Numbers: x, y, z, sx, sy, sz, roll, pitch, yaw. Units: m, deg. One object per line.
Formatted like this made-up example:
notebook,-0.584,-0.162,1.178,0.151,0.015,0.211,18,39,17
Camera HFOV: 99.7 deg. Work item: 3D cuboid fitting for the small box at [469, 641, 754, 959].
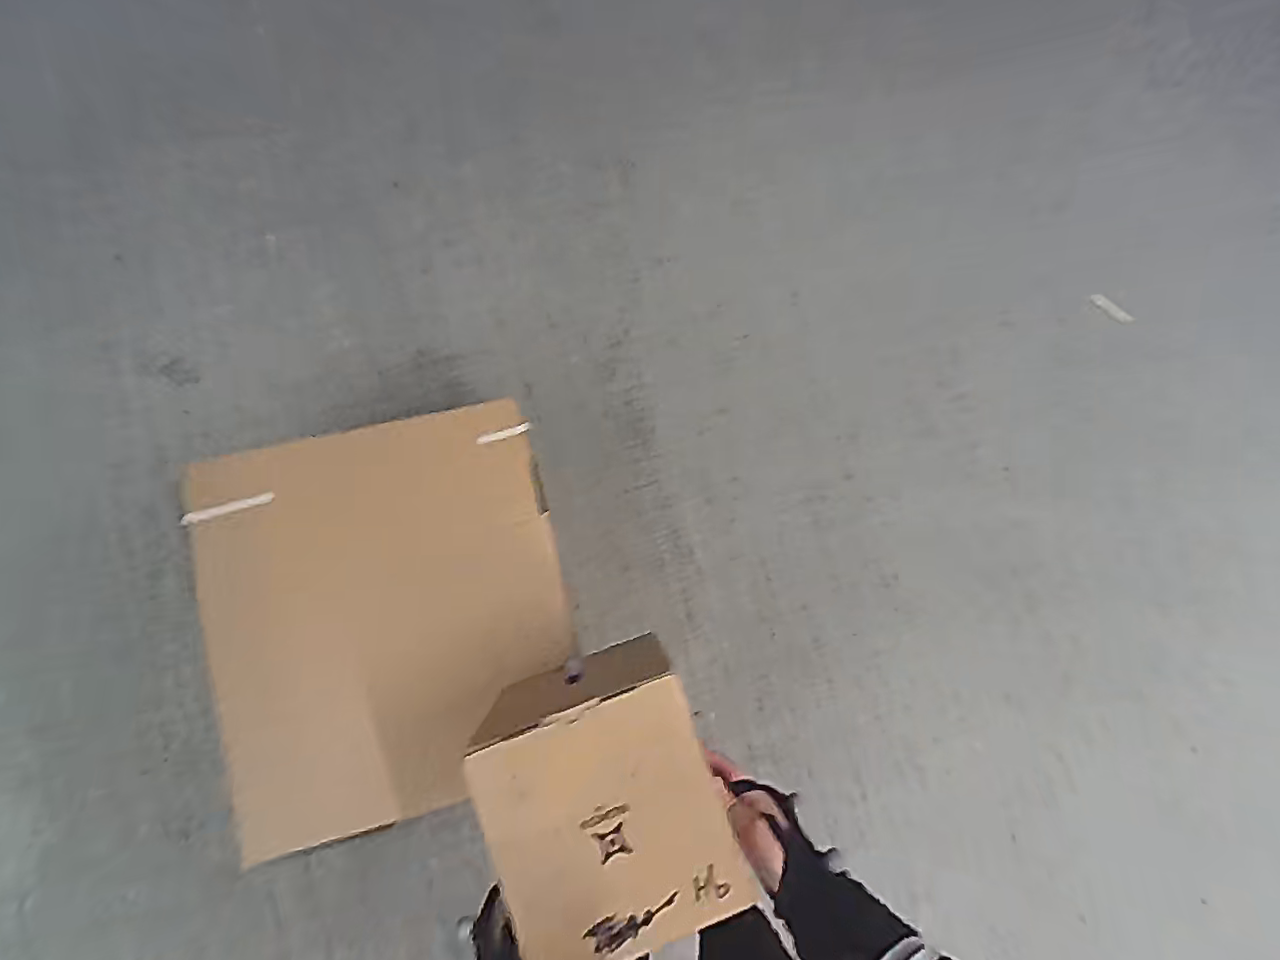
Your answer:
small box,-0.026,0.252,0.467,0.168,0.176,0.179,-19,85,-5
